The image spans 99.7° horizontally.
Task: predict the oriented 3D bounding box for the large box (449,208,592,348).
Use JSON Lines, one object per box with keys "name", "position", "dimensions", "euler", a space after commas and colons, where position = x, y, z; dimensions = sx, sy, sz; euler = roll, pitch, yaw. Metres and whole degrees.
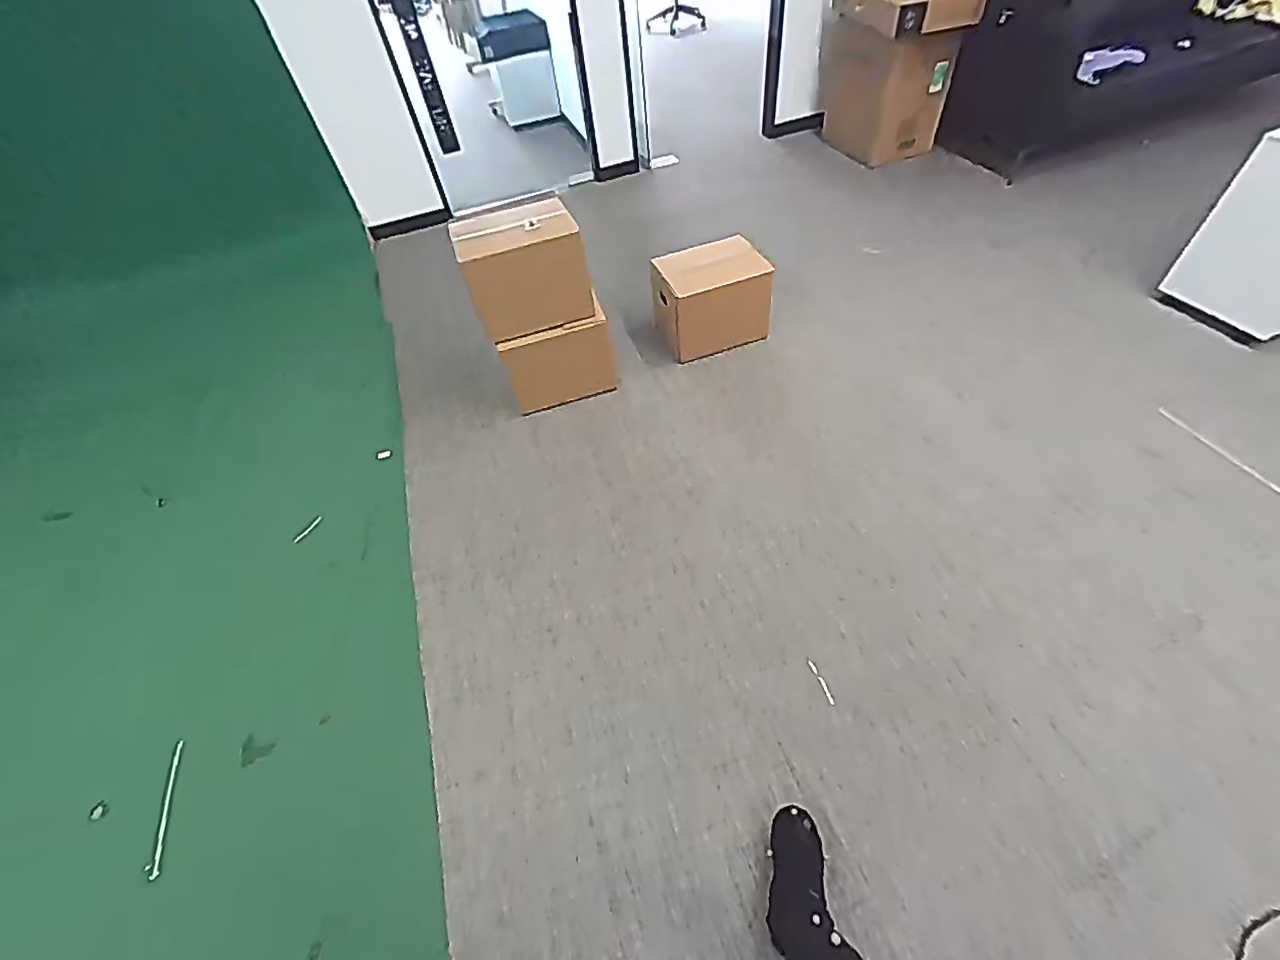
{"name": "large box", "position": [-0.418, -0.717, 1.918], "dimensions": [0.408, 0.320, 0.320], "euler": [-18, 48, -9]}
